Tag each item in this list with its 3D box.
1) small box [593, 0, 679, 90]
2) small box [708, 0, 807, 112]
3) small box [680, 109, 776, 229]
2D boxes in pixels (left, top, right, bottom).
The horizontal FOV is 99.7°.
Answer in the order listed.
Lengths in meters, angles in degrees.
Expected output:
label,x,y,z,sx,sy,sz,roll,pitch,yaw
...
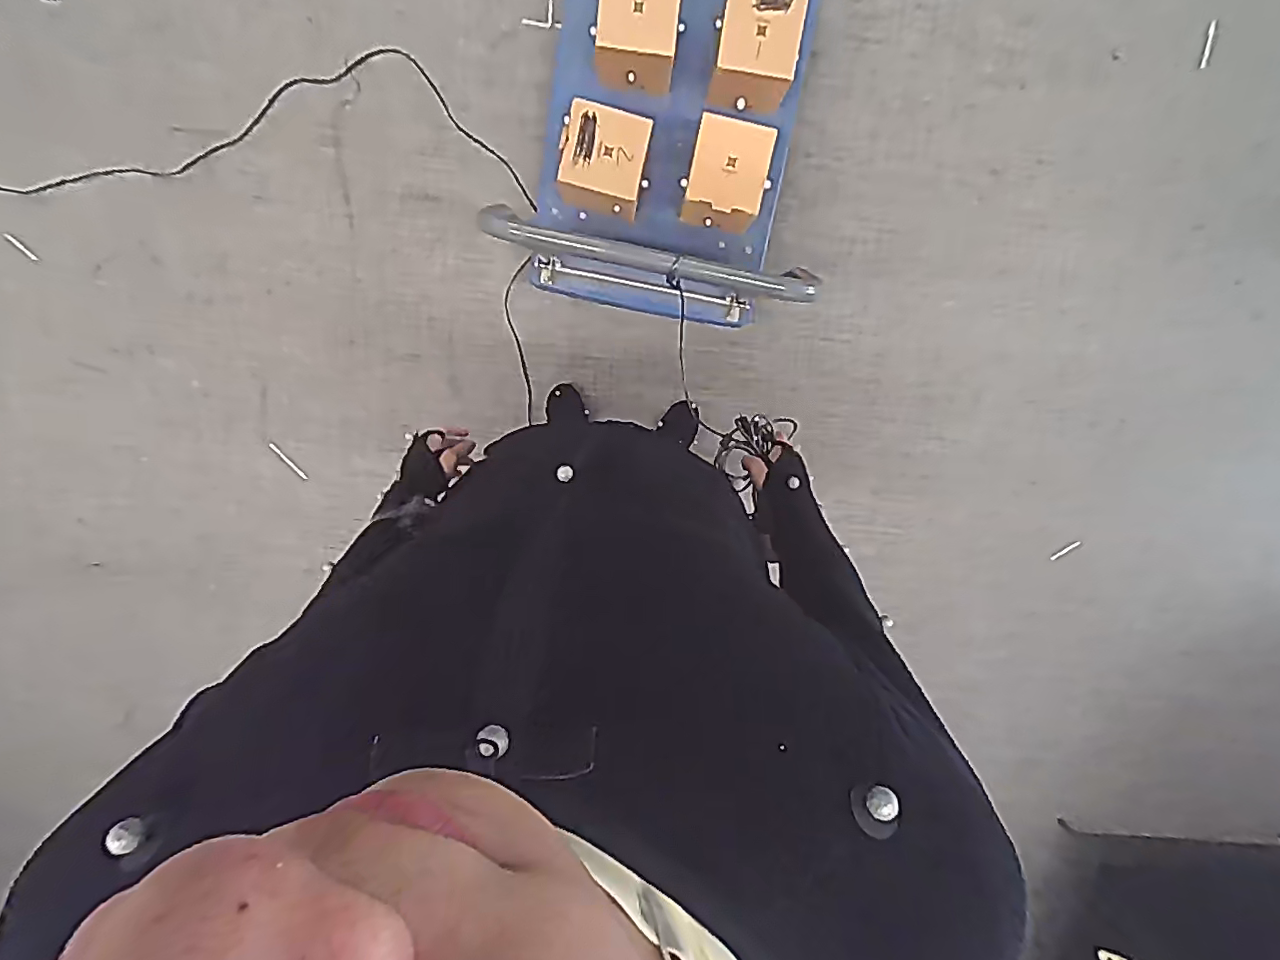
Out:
label,x,y,z,sx,sy,sz,roll,pitch,yaw
small box,-0.006,-0.984,1.167,0.168,0.176,0.179,6,102,-3
small box,0.249,-0.948,1.179,0.168,0.176,0.179,9,103,-2
small box,0.192,-0.697,1.233,0.168,0.176,0.179,11,102,-4
